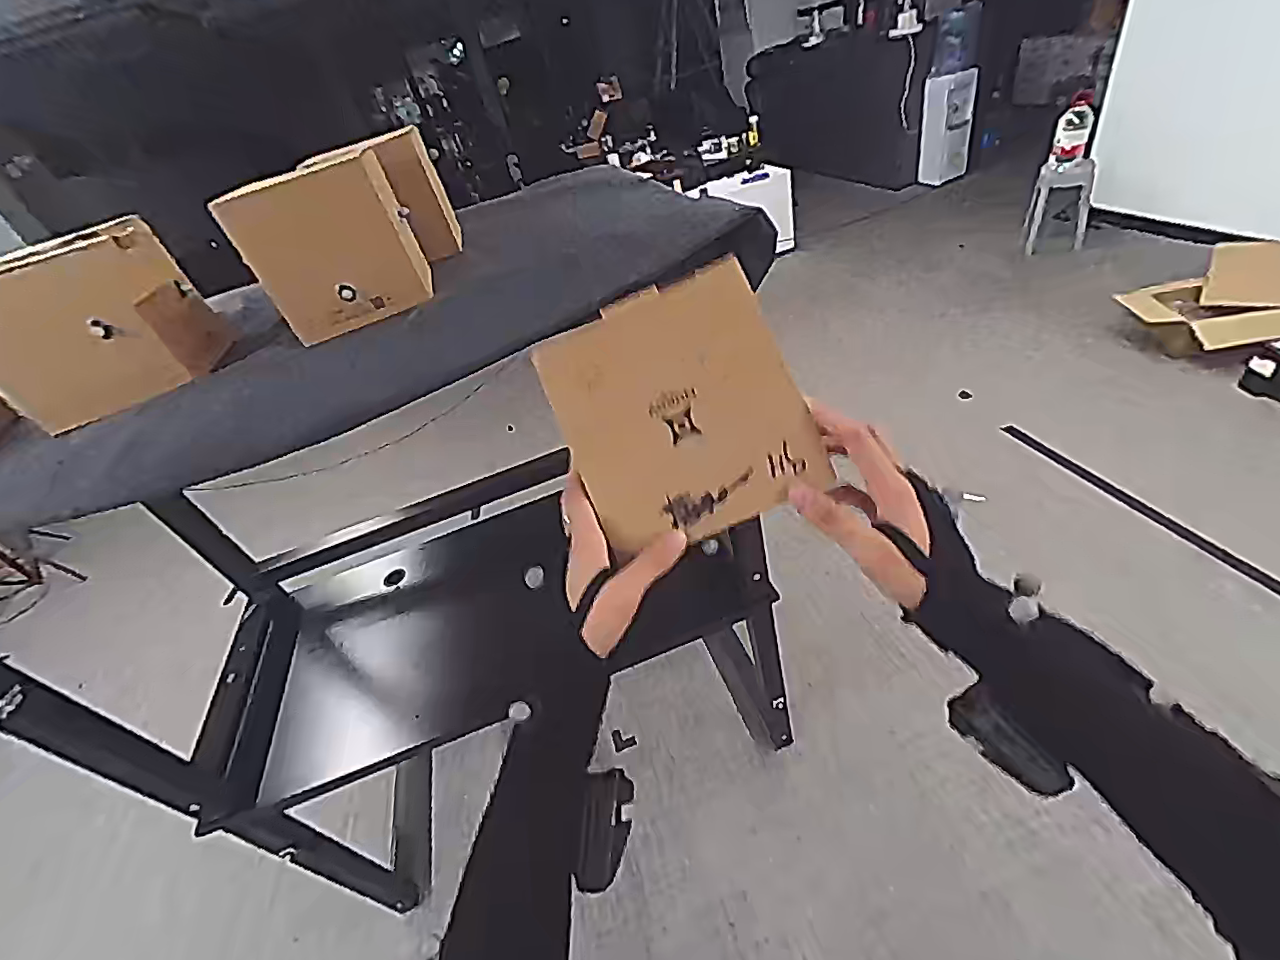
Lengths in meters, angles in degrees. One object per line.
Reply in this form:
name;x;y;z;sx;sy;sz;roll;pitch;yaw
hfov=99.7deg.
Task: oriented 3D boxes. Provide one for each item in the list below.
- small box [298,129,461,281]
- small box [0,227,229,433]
small box;-0.399;-0.438;0.864;0.168;0.176;0.179;-22;39;-4
small box;-0.654;-0.184;0.657;0.179;0.176;0.168;-22;36;-8
